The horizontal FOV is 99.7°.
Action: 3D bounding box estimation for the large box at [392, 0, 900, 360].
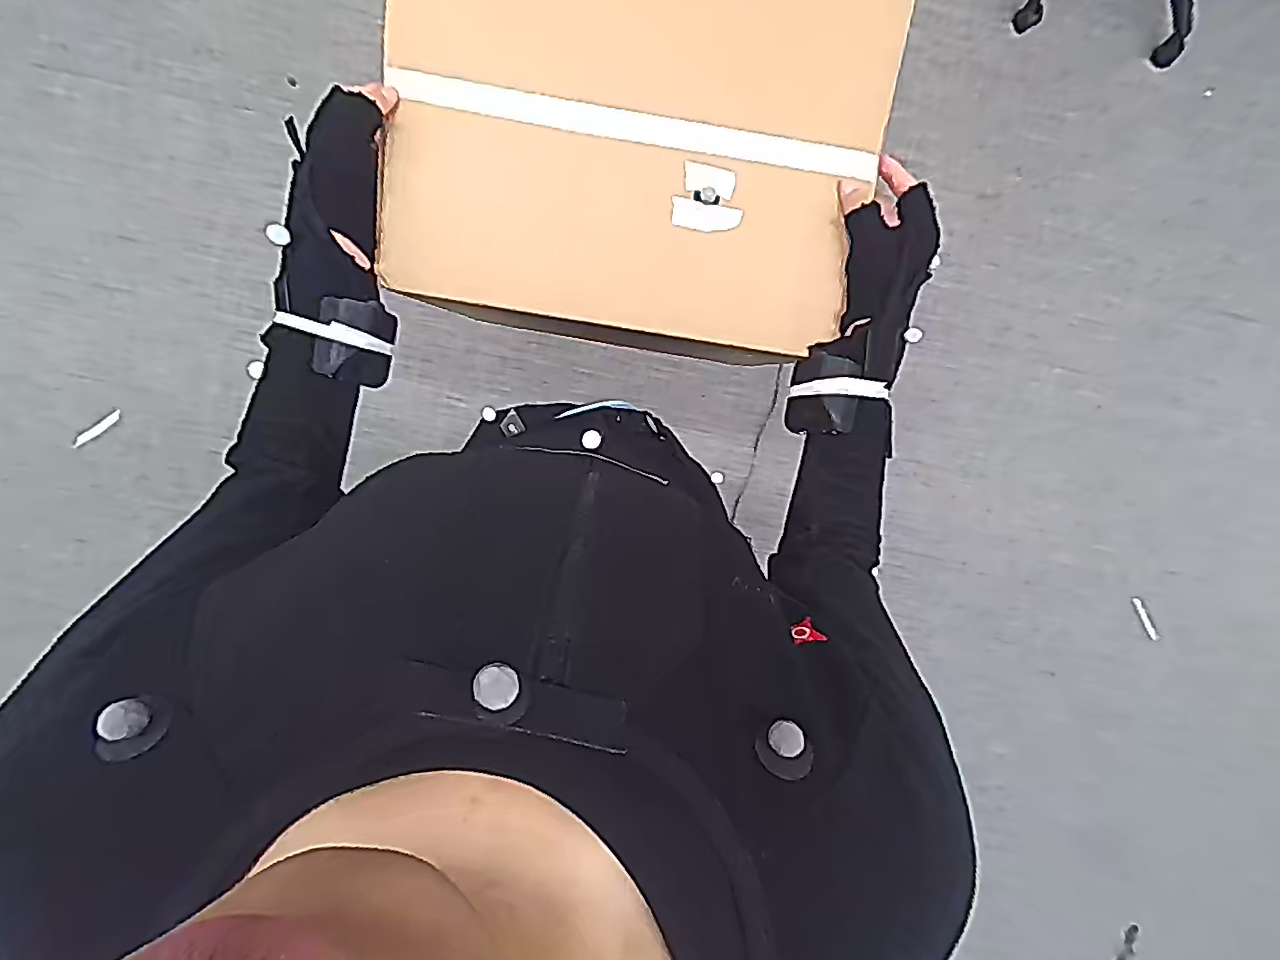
[{"bbox_3d":[-0.008,-0.321,0.604,0.408,0.320,0.320,9,102,-4],"label":"large box"}]
